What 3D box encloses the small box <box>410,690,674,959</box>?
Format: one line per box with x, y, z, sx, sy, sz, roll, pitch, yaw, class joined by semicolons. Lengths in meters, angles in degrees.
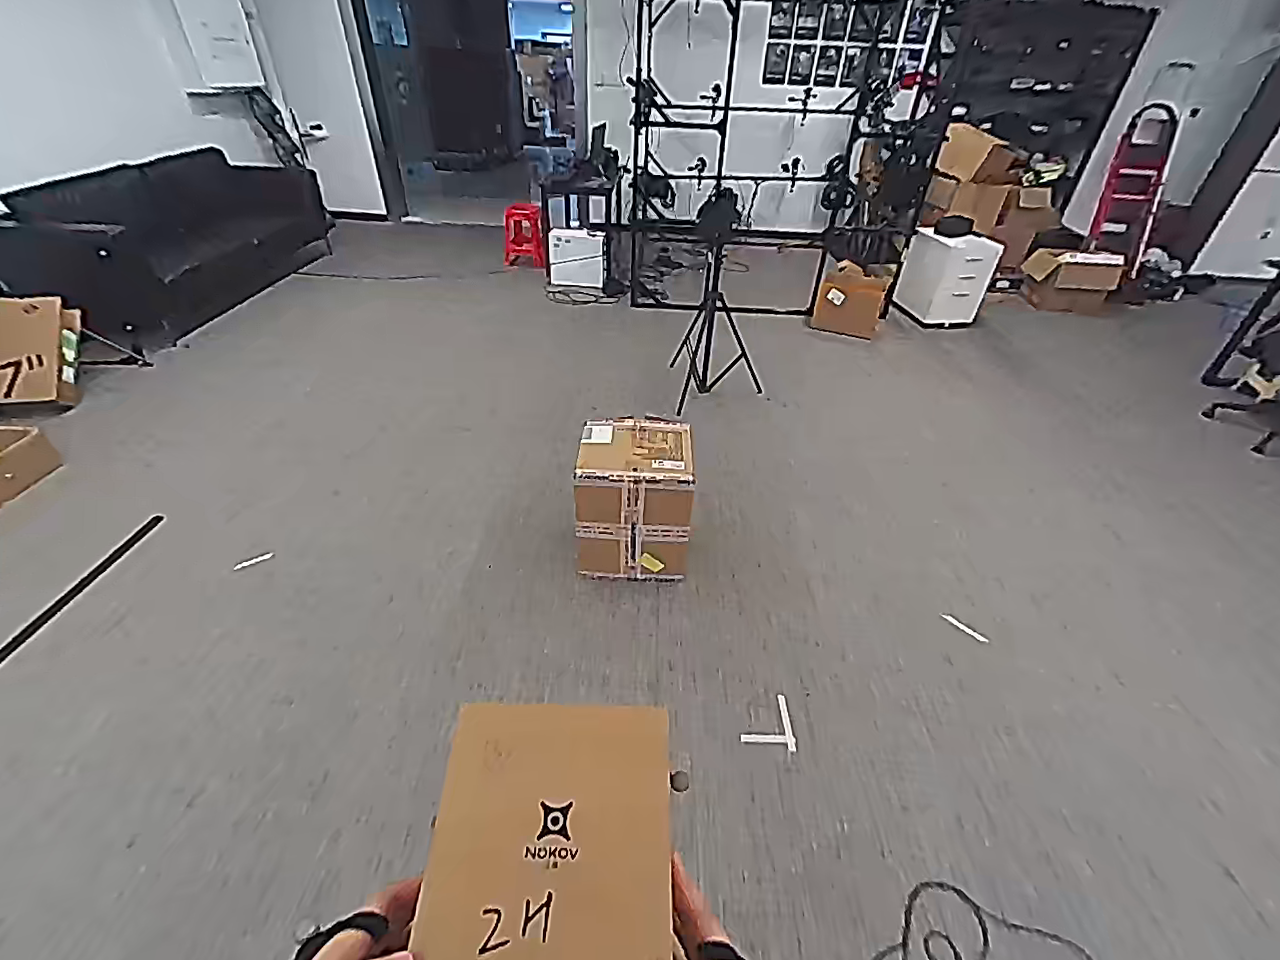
-0.061;0.291;0.444;0.168;0.176;0.179;2;50;0;small box
